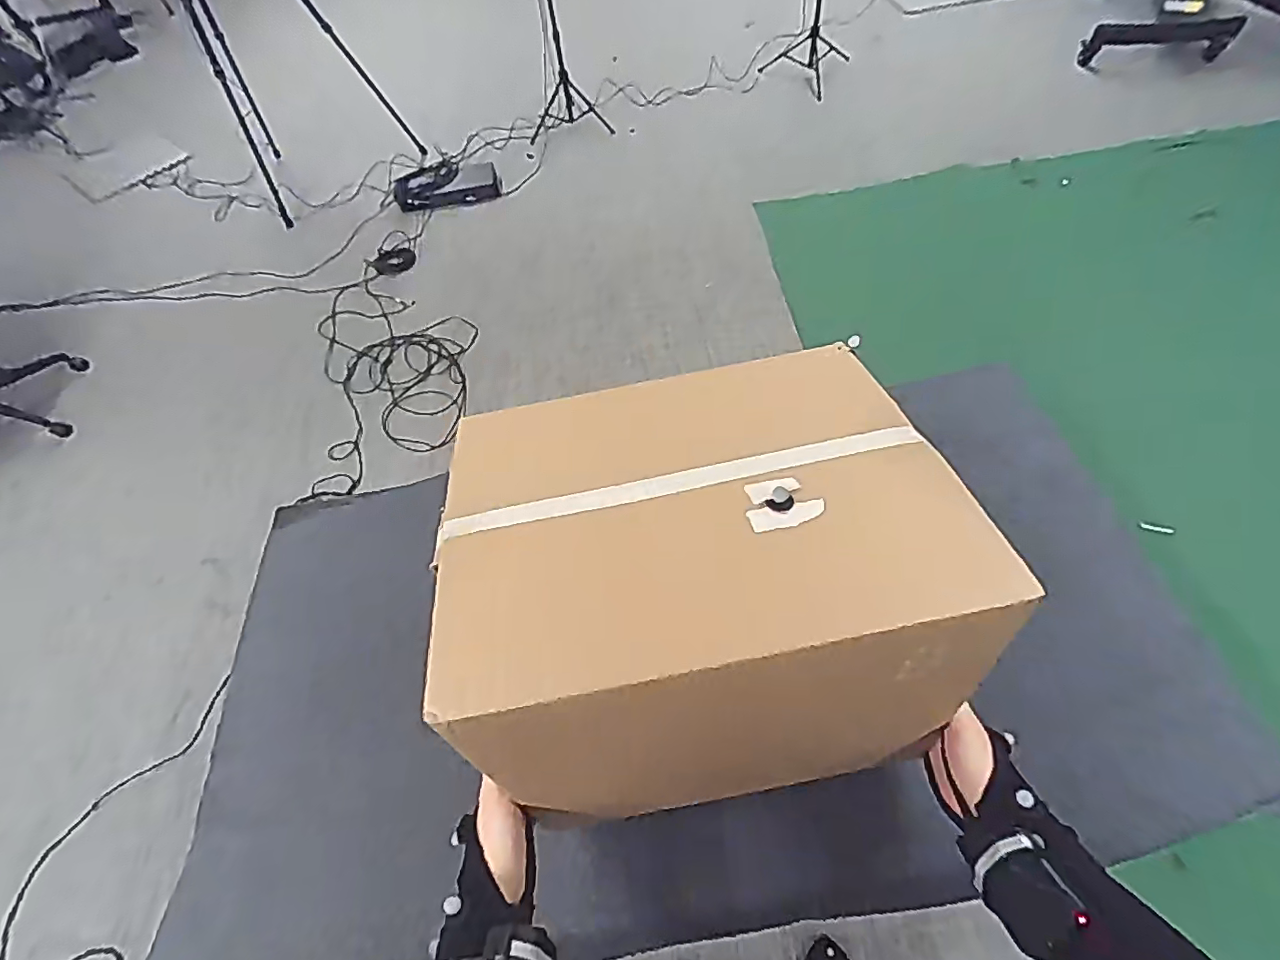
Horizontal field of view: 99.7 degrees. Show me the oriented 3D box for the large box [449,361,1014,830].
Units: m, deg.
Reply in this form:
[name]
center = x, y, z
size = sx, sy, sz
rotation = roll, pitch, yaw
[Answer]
[large box]
center = 0.058, 0.120, 0.571
size = 0.408, 0.320, 0.320
rotation = -11, 46, -1
